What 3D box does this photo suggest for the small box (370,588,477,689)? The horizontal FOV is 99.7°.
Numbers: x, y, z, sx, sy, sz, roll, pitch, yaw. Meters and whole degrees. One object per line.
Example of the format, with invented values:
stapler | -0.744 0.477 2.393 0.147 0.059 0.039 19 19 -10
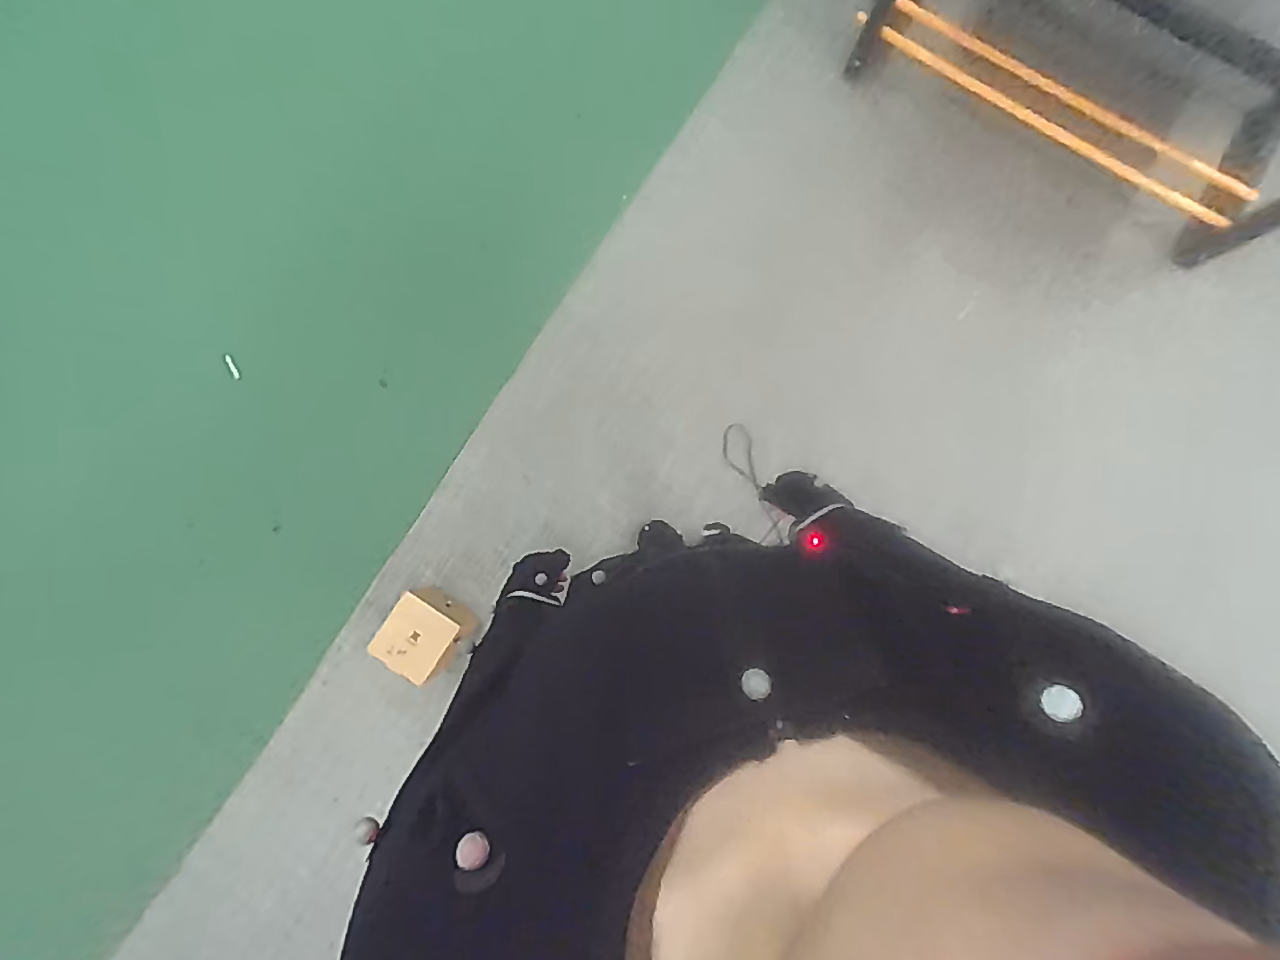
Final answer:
small box | -0.540 0.395 1.385 0.168 0.176 0.179 32 85 4
